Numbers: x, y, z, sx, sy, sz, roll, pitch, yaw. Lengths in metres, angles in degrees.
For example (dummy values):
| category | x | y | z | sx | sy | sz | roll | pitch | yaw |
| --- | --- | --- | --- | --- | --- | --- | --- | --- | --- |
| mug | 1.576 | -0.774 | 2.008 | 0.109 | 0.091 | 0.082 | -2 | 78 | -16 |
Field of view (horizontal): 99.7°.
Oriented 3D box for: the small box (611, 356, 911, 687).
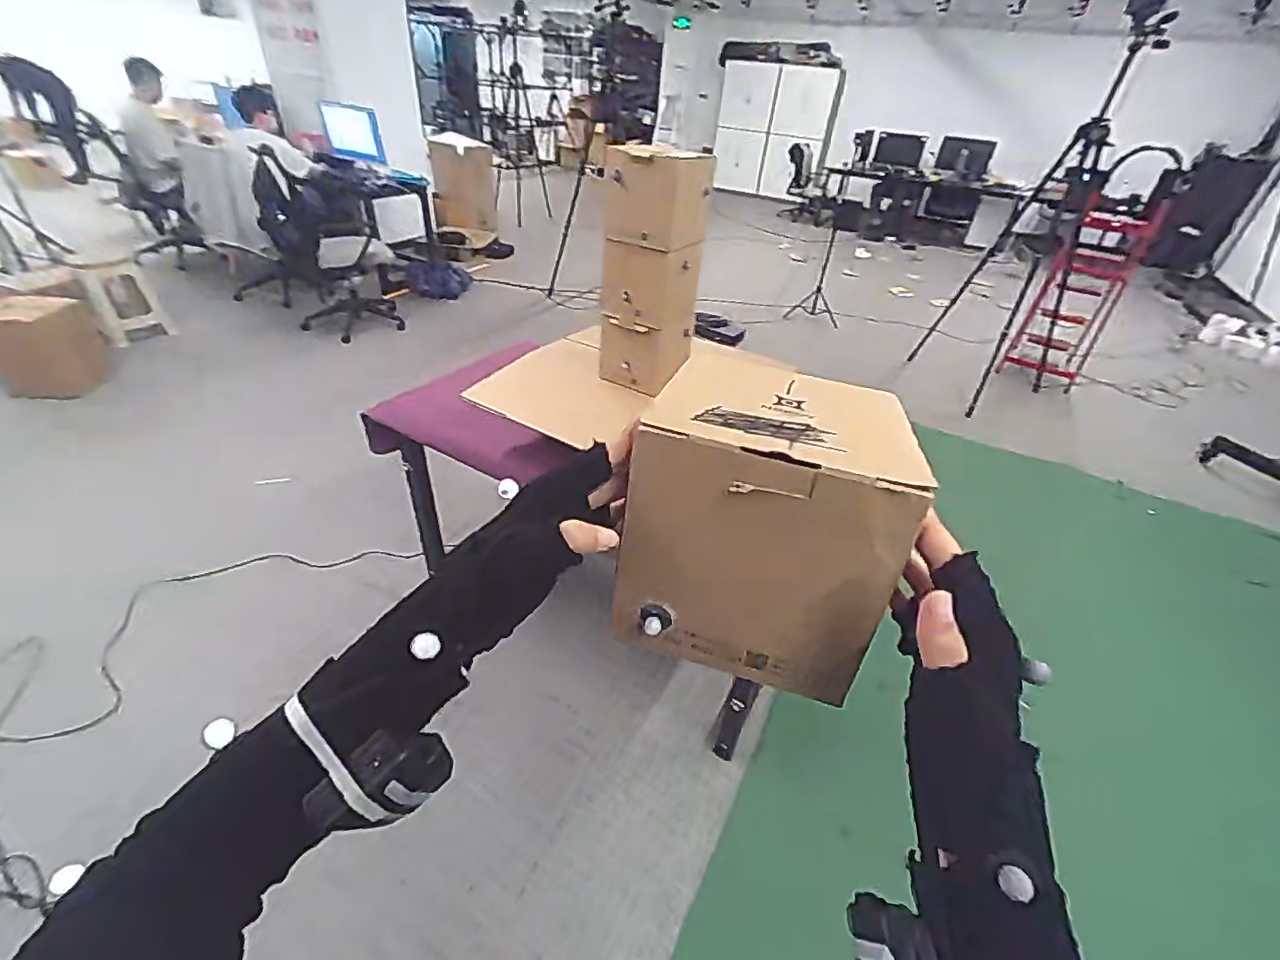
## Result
| category | x | y | z | sx | sy | sz | roll | pitch | yaw |
| --- | --- | --- | --- | --- | --- | --- | --- | --- | --- |
| small box | 0.081 | 0.021 | 0.410 | 0.168 | 0.176 | 0.179 | 14 | 29 | 11 |

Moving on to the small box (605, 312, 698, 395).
| category | x | y | z | sx | sy | sz | roll | pitch | yaw |
| --- | --- | --- | --- | --- | --- | --- | --- | --- | --- |
| small box | 0.022 | -0.331 | 1.336 | 0.168 | 0.176 | 0.179 | 23 | 39 | 24 |

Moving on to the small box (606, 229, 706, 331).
| category | x | y | z | sx | sy | sz | roll | pitch | yaw |
| --- | --- | --- | --- | --- | --- | --- | --- | --- | --- |
| small box | 0.032 | -0.460 | 1.237 | 0.168 | 0.176 | 0.179 | 22 | 39 | 22 |
